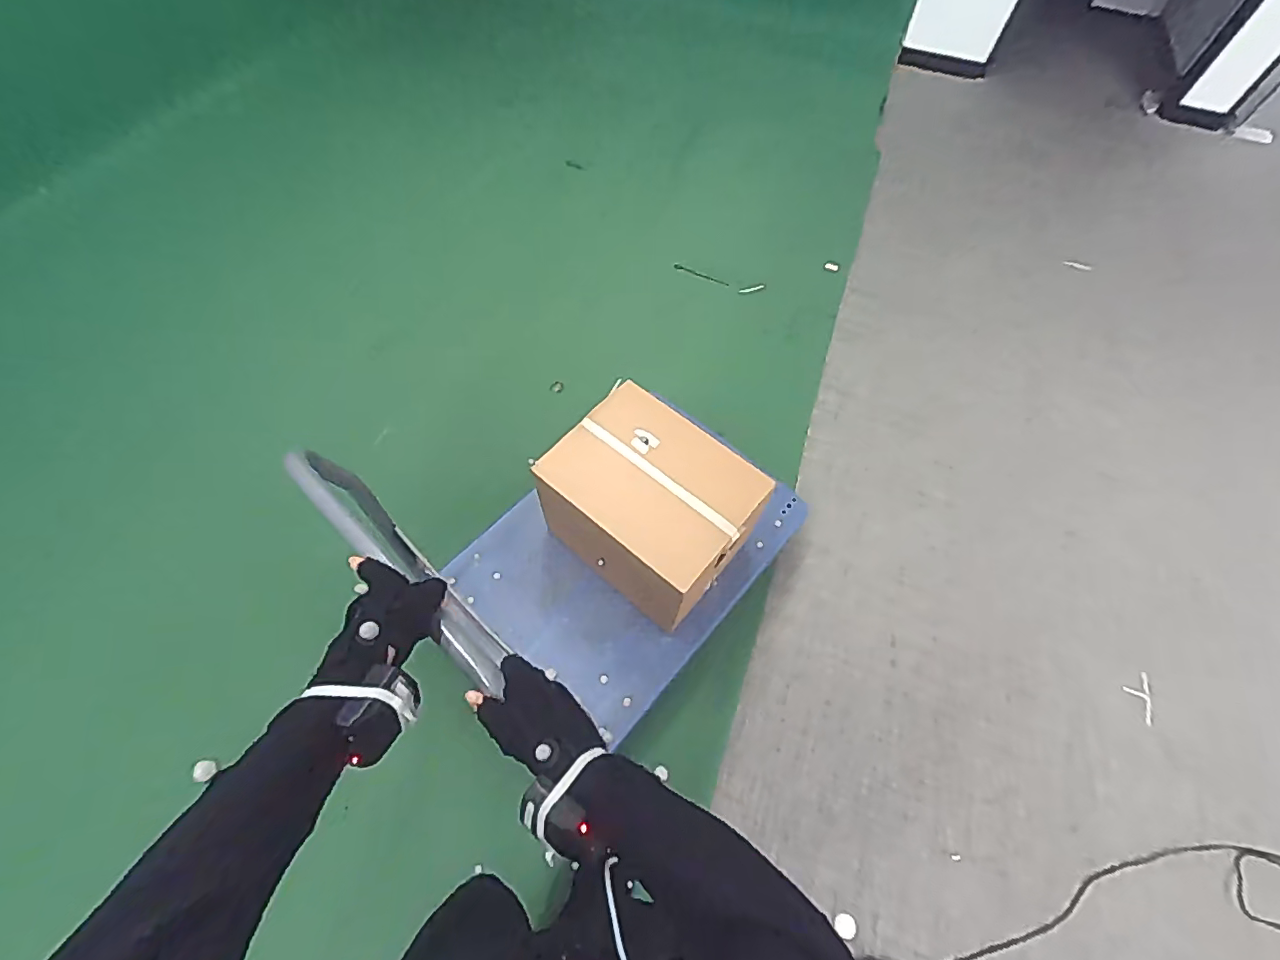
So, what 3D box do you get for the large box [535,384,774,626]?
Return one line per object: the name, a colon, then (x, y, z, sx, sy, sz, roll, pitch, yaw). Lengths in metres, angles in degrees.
large box: (0.029, 0.064, 1.240, 0.408, 0.320, 0.320, 37, 66, 17)
